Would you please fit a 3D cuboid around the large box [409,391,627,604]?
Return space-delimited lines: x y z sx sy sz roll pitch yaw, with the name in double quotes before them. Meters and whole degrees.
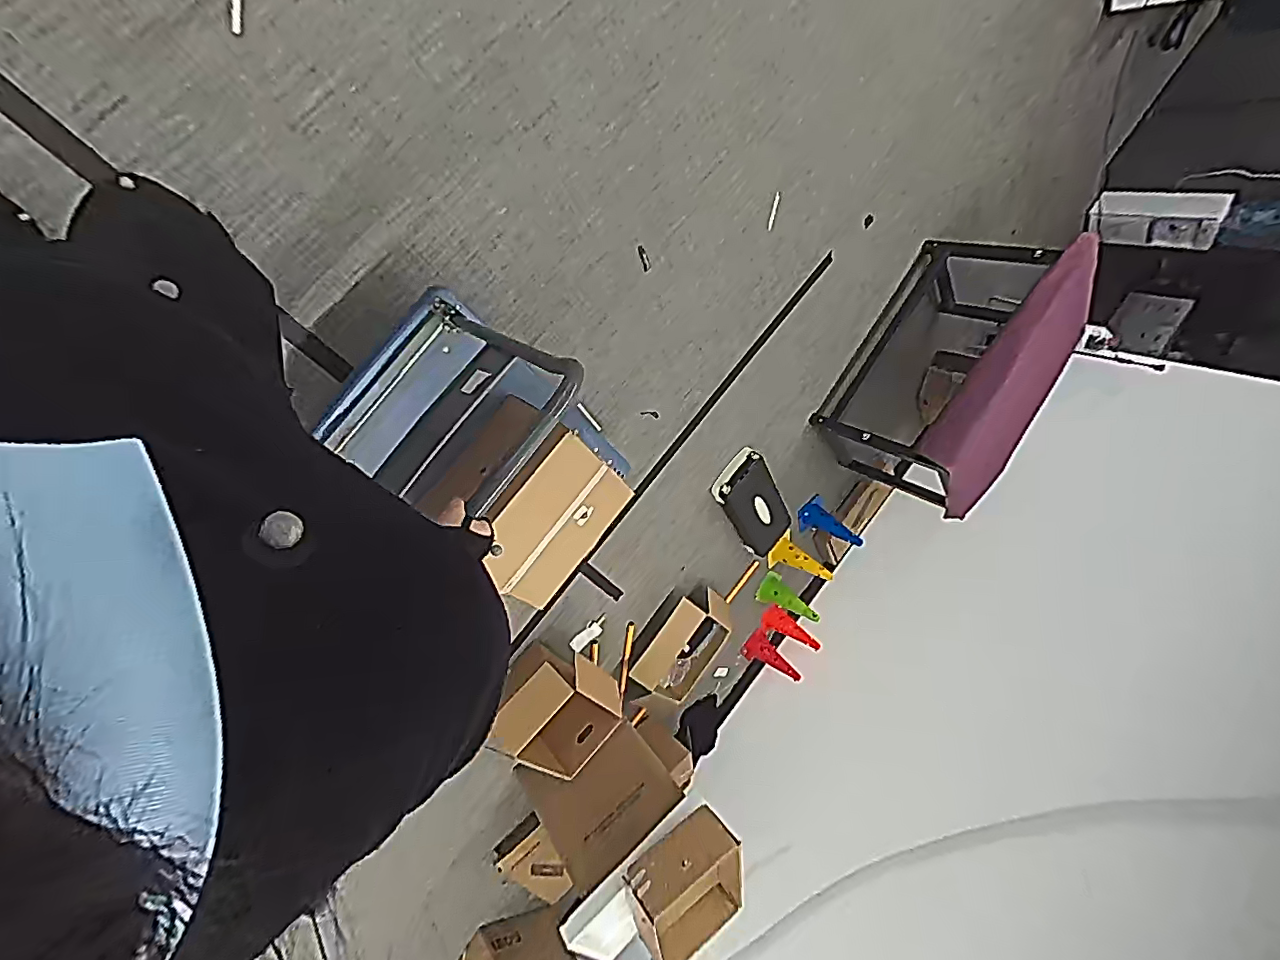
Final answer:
"large box" -0.319 0.041 1.423 0.408 0.320 0.320 -52 138 -8
